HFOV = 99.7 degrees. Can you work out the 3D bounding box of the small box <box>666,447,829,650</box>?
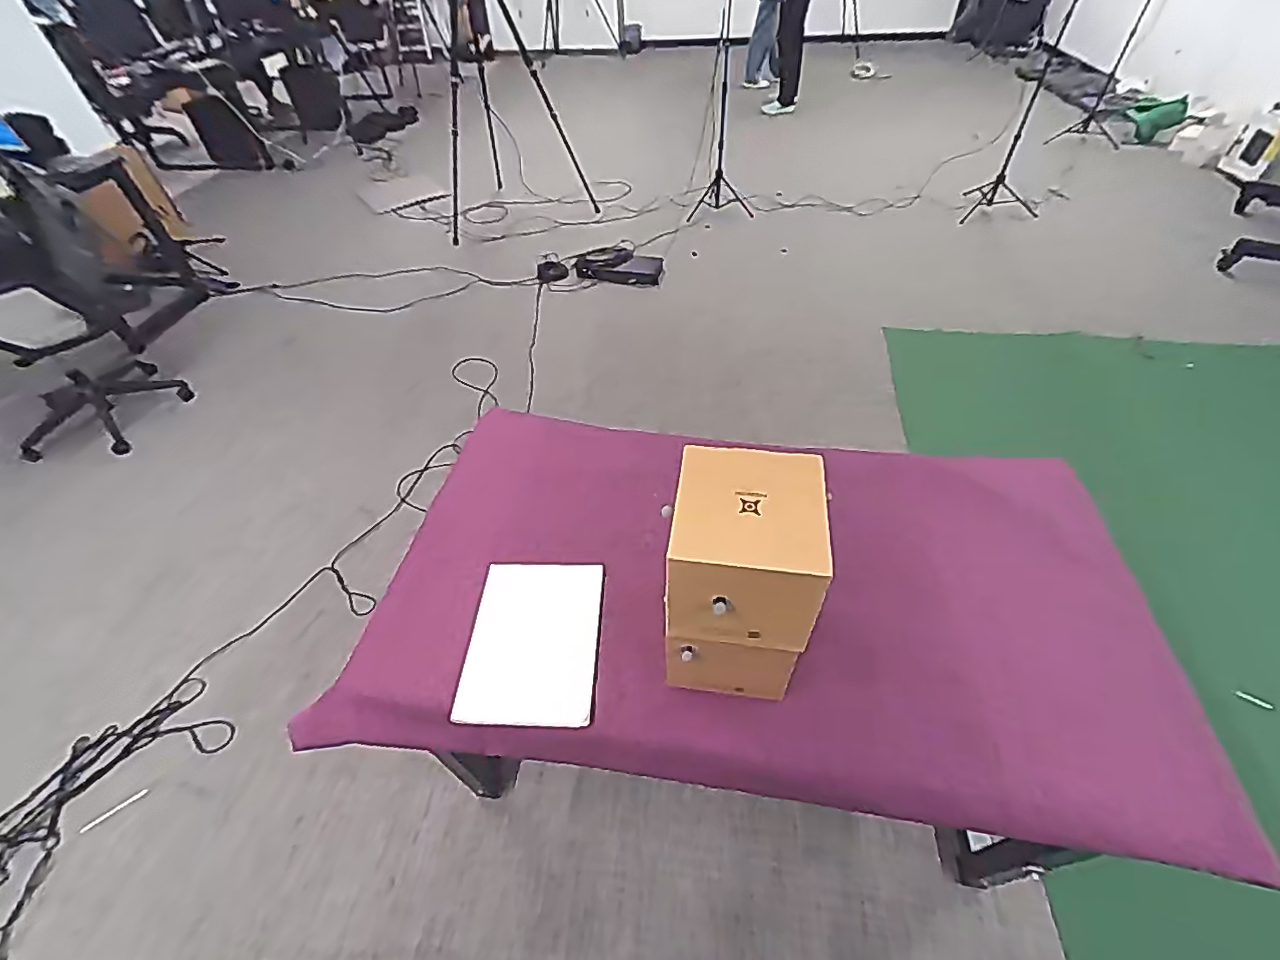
[{"bbox_3d":[0.125,0.084,0.654,0.168,0.176,0.179,5,46,8],"label":"small box"}]
